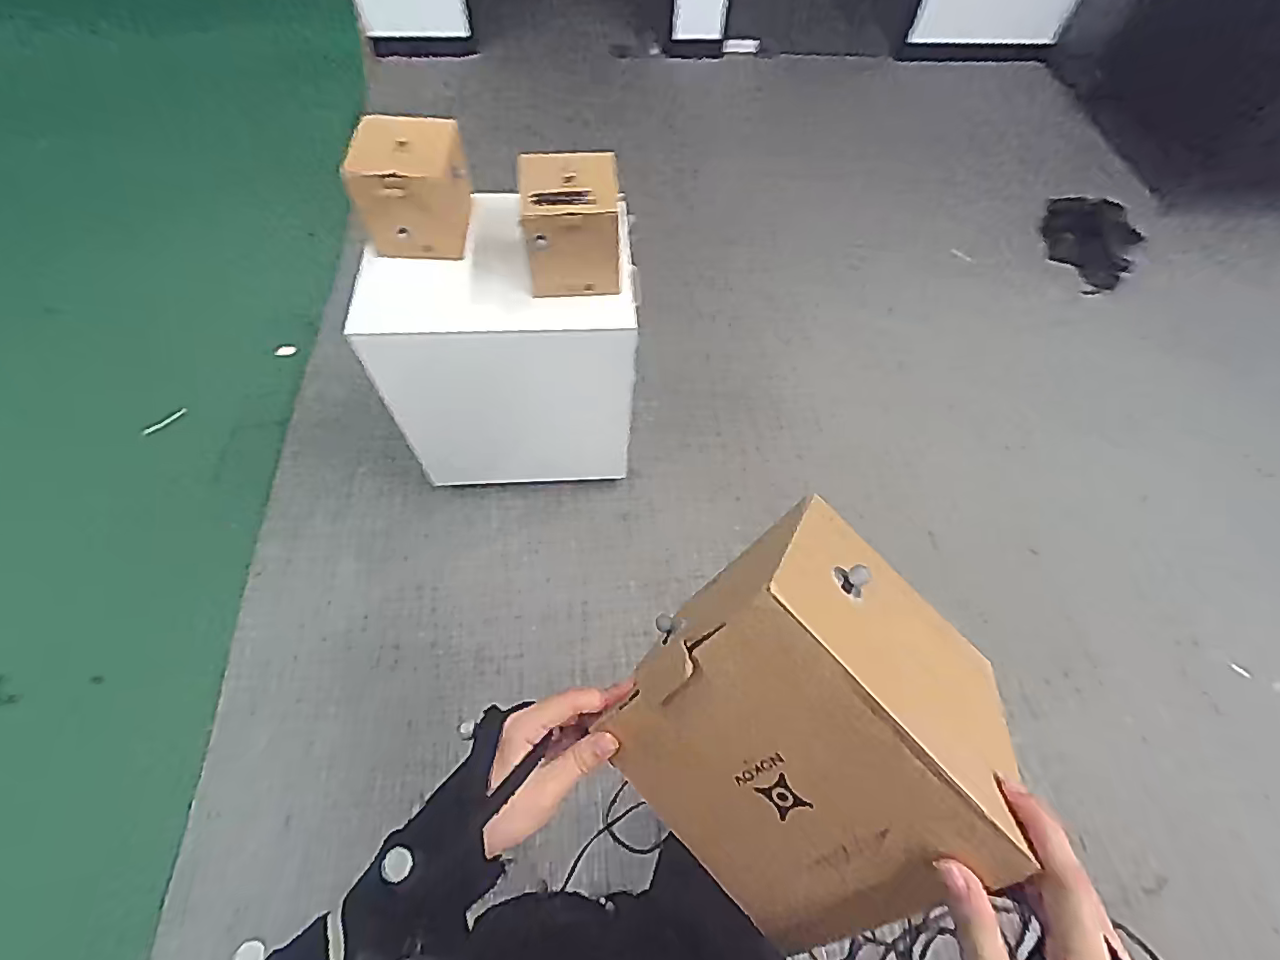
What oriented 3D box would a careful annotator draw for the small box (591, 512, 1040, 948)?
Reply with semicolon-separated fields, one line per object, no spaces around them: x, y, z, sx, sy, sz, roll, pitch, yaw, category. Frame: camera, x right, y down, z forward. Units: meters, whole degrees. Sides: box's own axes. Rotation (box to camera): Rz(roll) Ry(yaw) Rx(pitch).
0.106;0.141;0.361;0.179;0.168;0.176;43;28;6;small box

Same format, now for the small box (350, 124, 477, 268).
-0.410;-0.527;1.012;0.168;0.176;0.179;1;61;-4;small box
